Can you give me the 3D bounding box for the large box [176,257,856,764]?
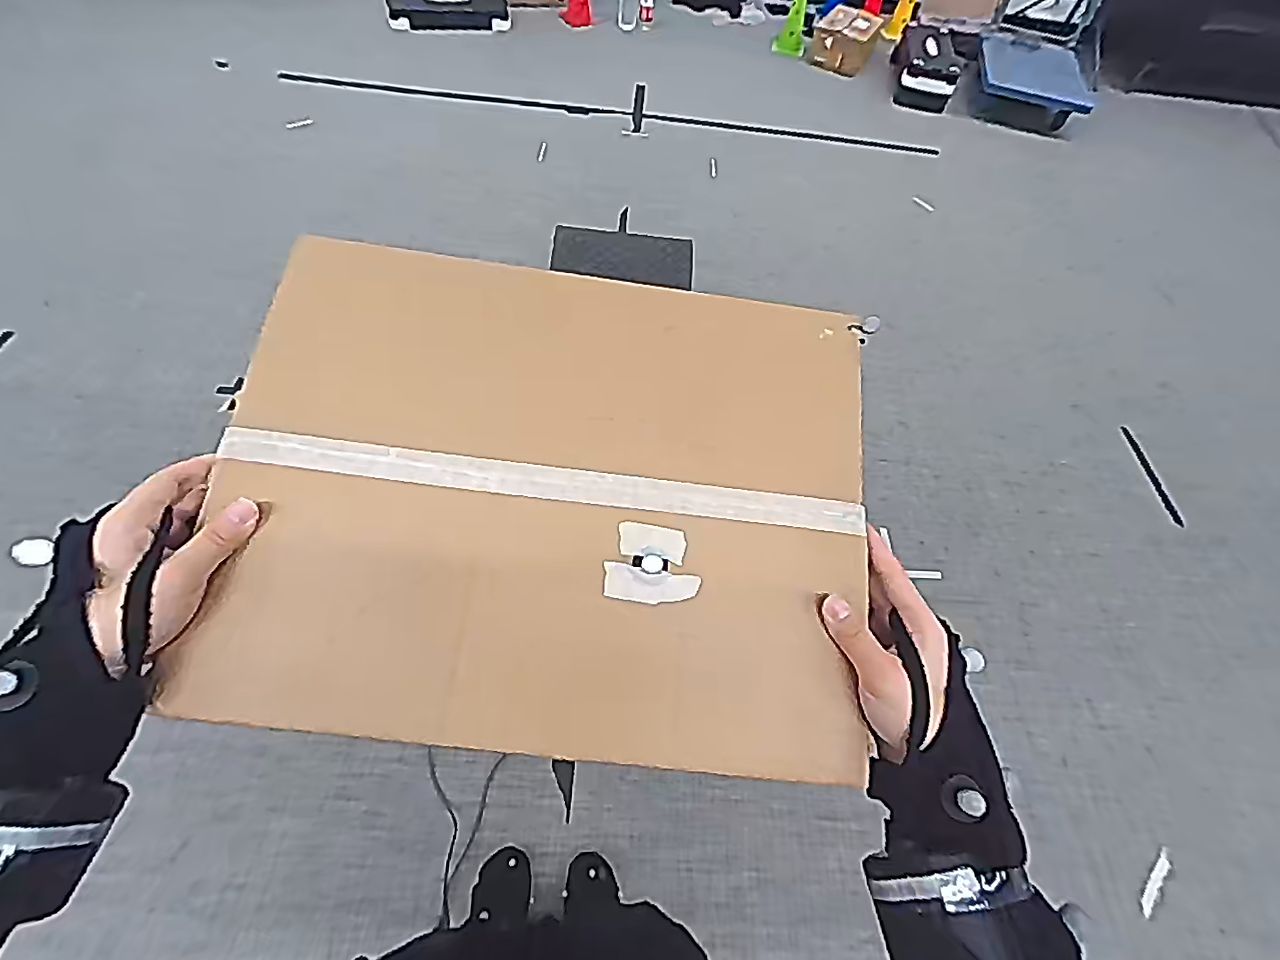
[{"bbox_3d":[-0.066,0.047,0.499,0.408,0.320,0.320,8,74,-3],"label":"large box"}]
